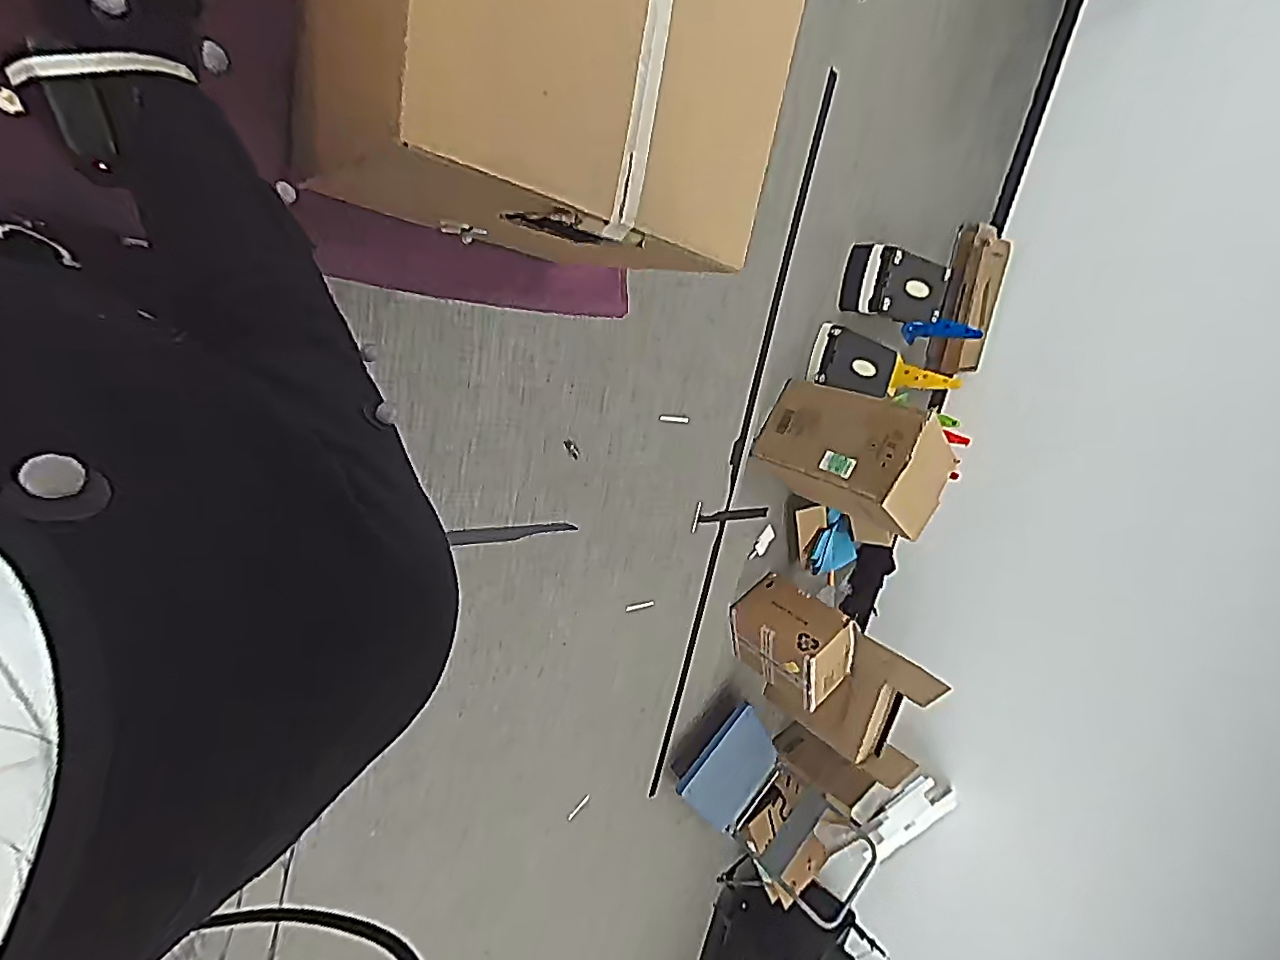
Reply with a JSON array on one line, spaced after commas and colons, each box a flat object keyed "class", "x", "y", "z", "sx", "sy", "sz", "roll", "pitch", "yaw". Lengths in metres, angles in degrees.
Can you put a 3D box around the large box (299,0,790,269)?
[{"class": "large box", "x": -0.086, "y": -0.422, "z": 0.465, "sx": 0.320, "sy": 0.320, "sz": 0.408, "roll": -2, "pitch": 109, "yaw": -43}]
